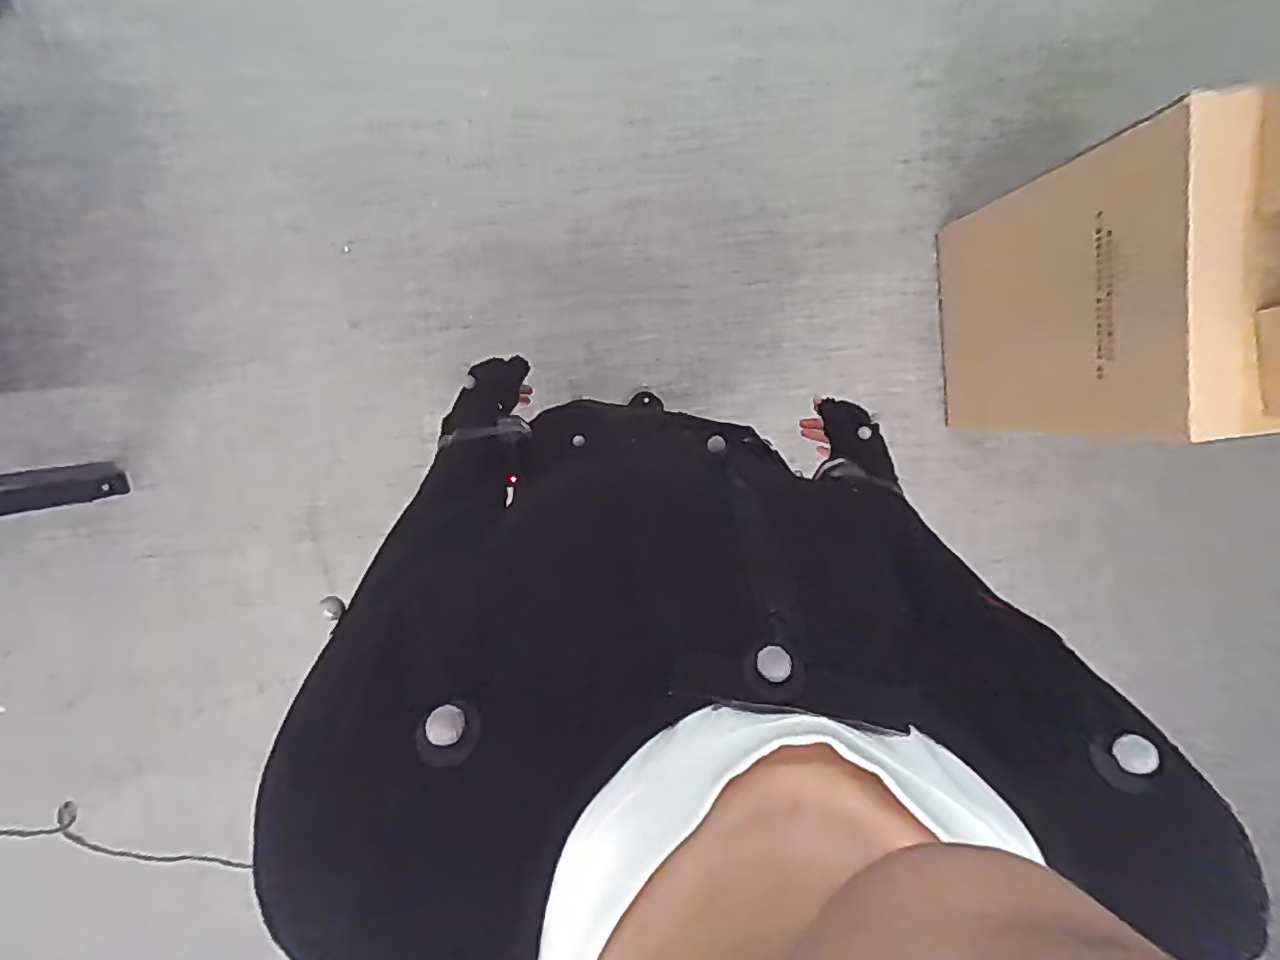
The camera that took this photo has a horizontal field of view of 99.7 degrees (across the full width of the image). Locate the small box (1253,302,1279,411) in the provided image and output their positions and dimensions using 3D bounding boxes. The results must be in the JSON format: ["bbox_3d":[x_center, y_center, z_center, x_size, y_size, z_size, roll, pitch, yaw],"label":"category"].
[{"bbox_3d":[1.058,-0.194,0.778,0.168,0.176,0.179,-15,97,-1],"label":"small box"}]

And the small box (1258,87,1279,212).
[{"bbox_3d":[1.015,-0.488,0.734,0.168,0.176,0.179,-4,98,-1],"label":"small box"}]
